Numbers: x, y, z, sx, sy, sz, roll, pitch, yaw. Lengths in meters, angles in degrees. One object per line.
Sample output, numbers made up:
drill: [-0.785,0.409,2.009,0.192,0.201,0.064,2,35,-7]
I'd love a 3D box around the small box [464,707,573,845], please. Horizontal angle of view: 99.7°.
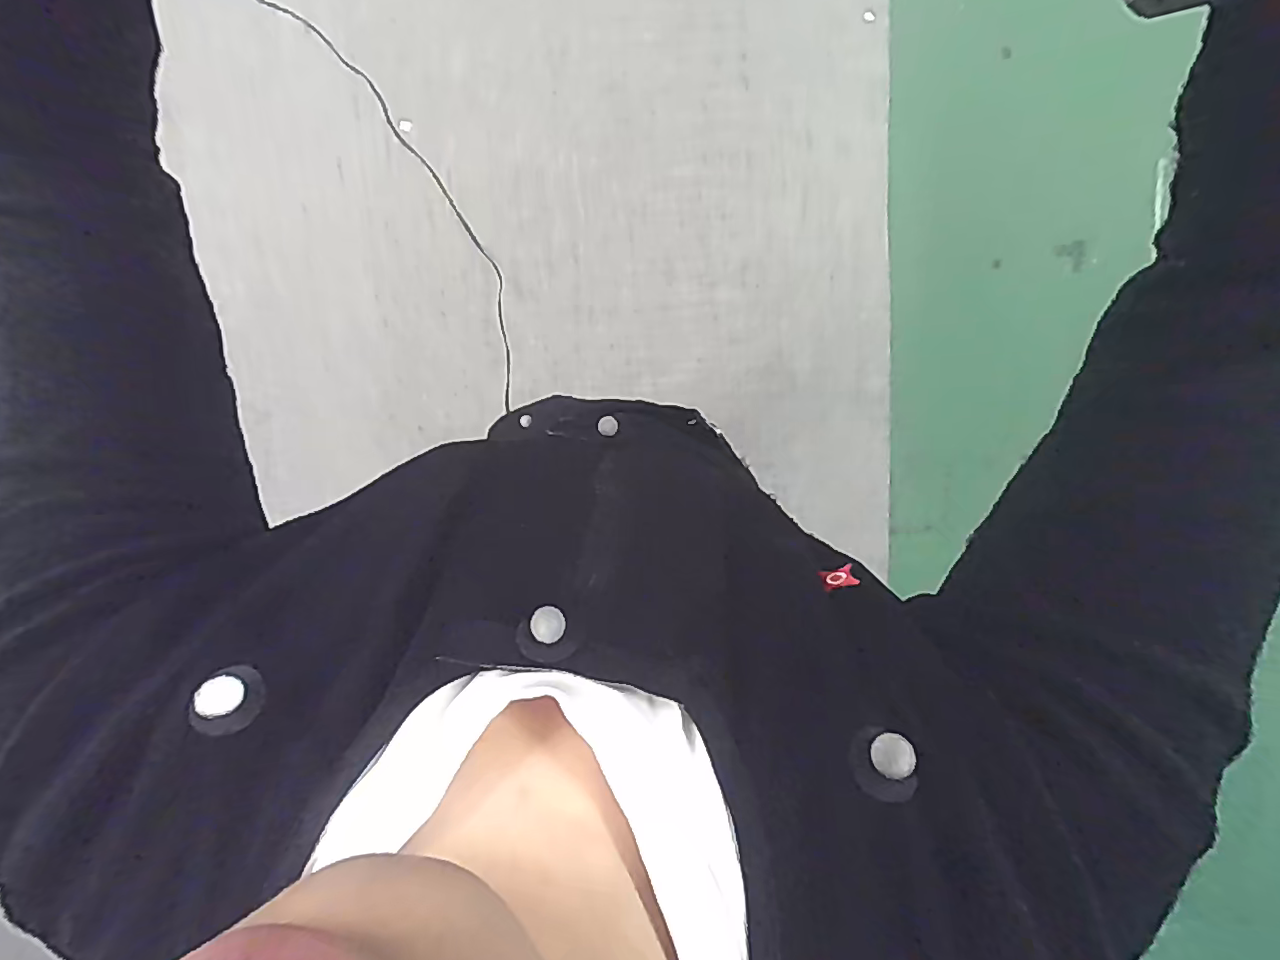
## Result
small box: [-0.224,0.557,1.036,0.168,0.176,0.179,-1,98,3]
